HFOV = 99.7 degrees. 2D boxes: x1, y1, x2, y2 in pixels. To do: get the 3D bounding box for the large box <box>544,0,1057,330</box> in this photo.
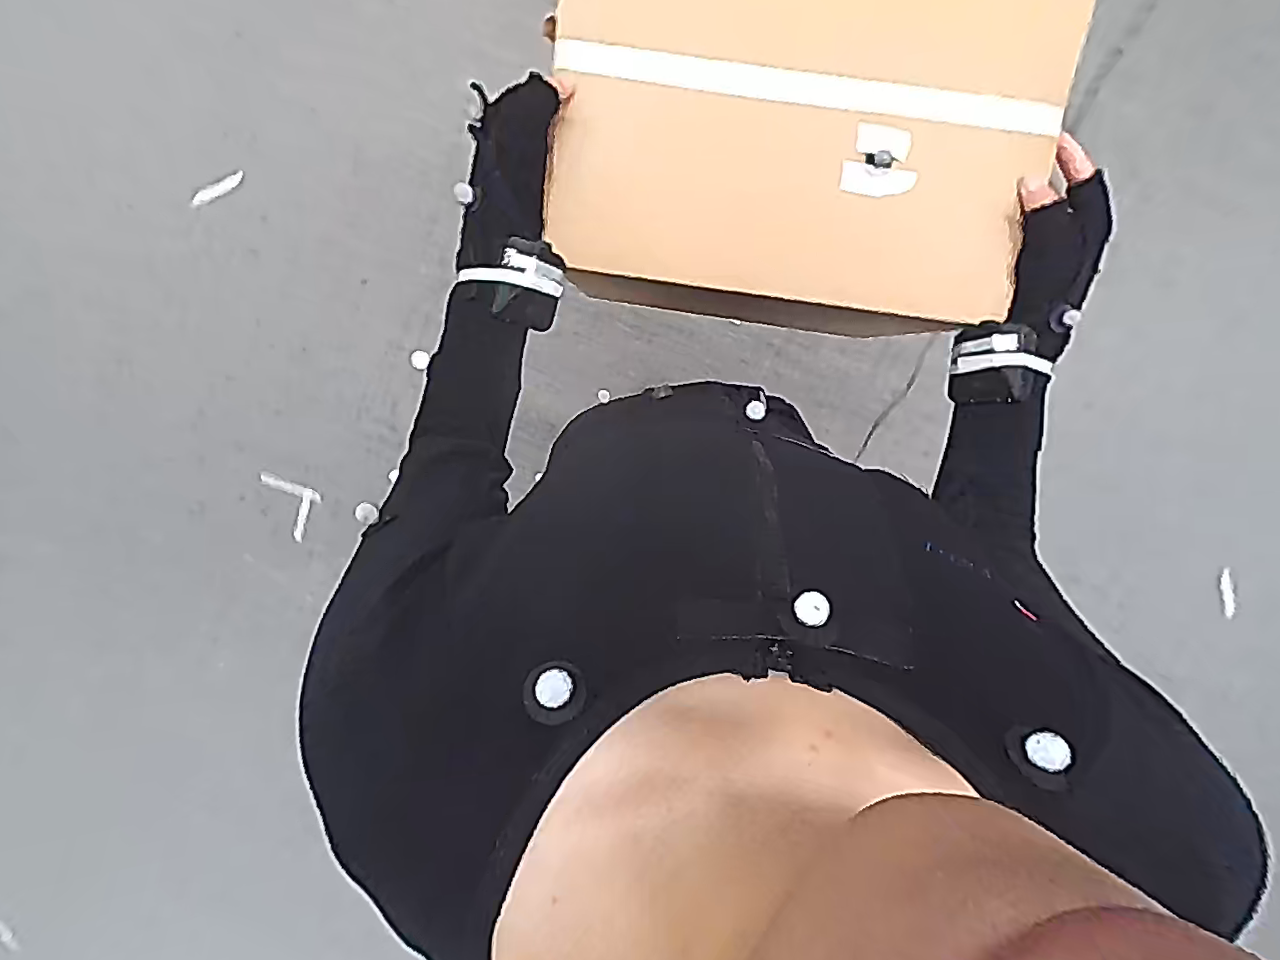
[{"bbox_3d":[0.126,-0.350,0.595,0.408,0.320,0.320,7,104,-1],"label":"large box"}]
